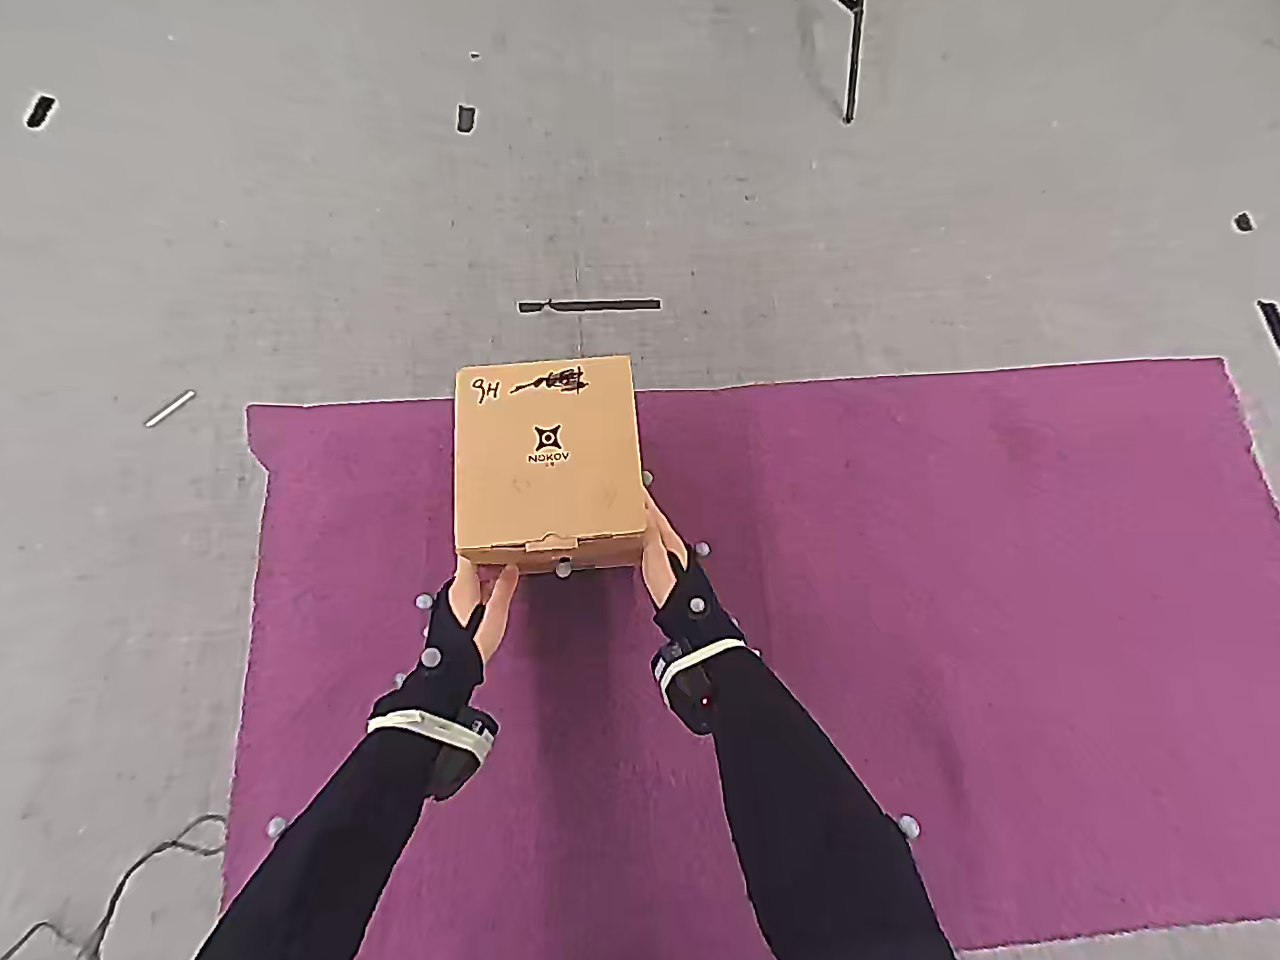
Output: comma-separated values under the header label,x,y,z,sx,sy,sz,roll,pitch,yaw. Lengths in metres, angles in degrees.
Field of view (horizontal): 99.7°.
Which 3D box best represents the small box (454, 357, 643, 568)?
label,x,y,z,sx,sy,sz,roll,pitch,yaw
small box,-0.084,-0.005,0.562,0.168,0.176,0.179,-4,73,-2
